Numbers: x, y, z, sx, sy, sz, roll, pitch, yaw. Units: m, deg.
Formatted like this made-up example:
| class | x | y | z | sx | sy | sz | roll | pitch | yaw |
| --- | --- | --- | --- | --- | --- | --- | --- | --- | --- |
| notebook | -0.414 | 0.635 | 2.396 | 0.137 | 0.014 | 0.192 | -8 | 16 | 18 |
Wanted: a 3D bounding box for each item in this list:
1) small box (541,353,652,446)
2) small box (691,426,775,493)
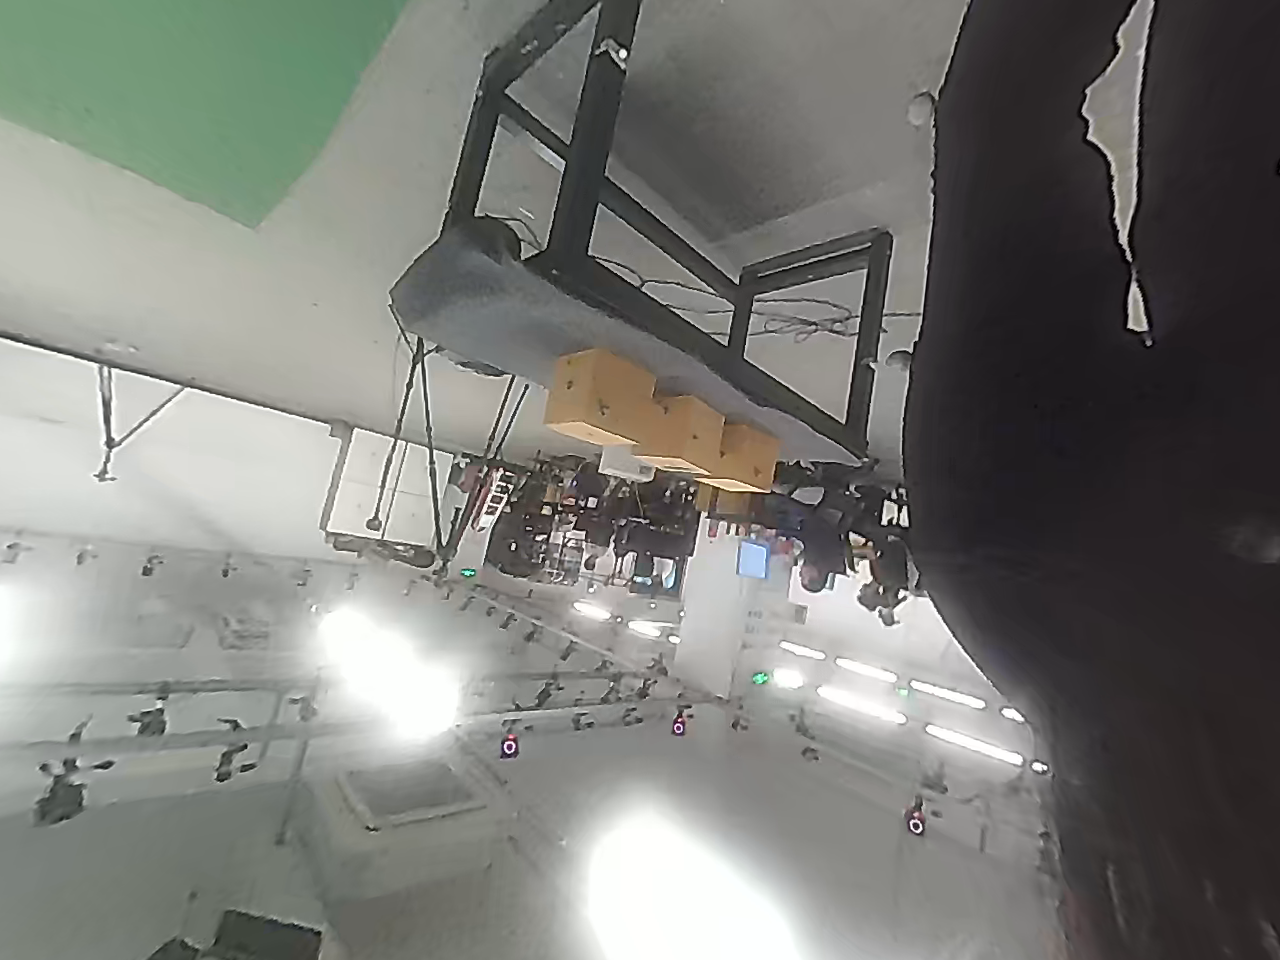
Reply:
| class | x | y | z | sx | sy | sz | roll | pitch | yaw |
| --- | --- | --- | --- | --- | --- | --- | --- | --- | --- |
| small box | -0.098 | -0.182 | 1.235 | 0.179 | 0.176 | 0.168 | 17 | 171 | -41 |
| small box | 0.281 | -0.062 | 1.619 | 0.179 | 0.176 | 0.168 | 16 | 171 | -38 |
